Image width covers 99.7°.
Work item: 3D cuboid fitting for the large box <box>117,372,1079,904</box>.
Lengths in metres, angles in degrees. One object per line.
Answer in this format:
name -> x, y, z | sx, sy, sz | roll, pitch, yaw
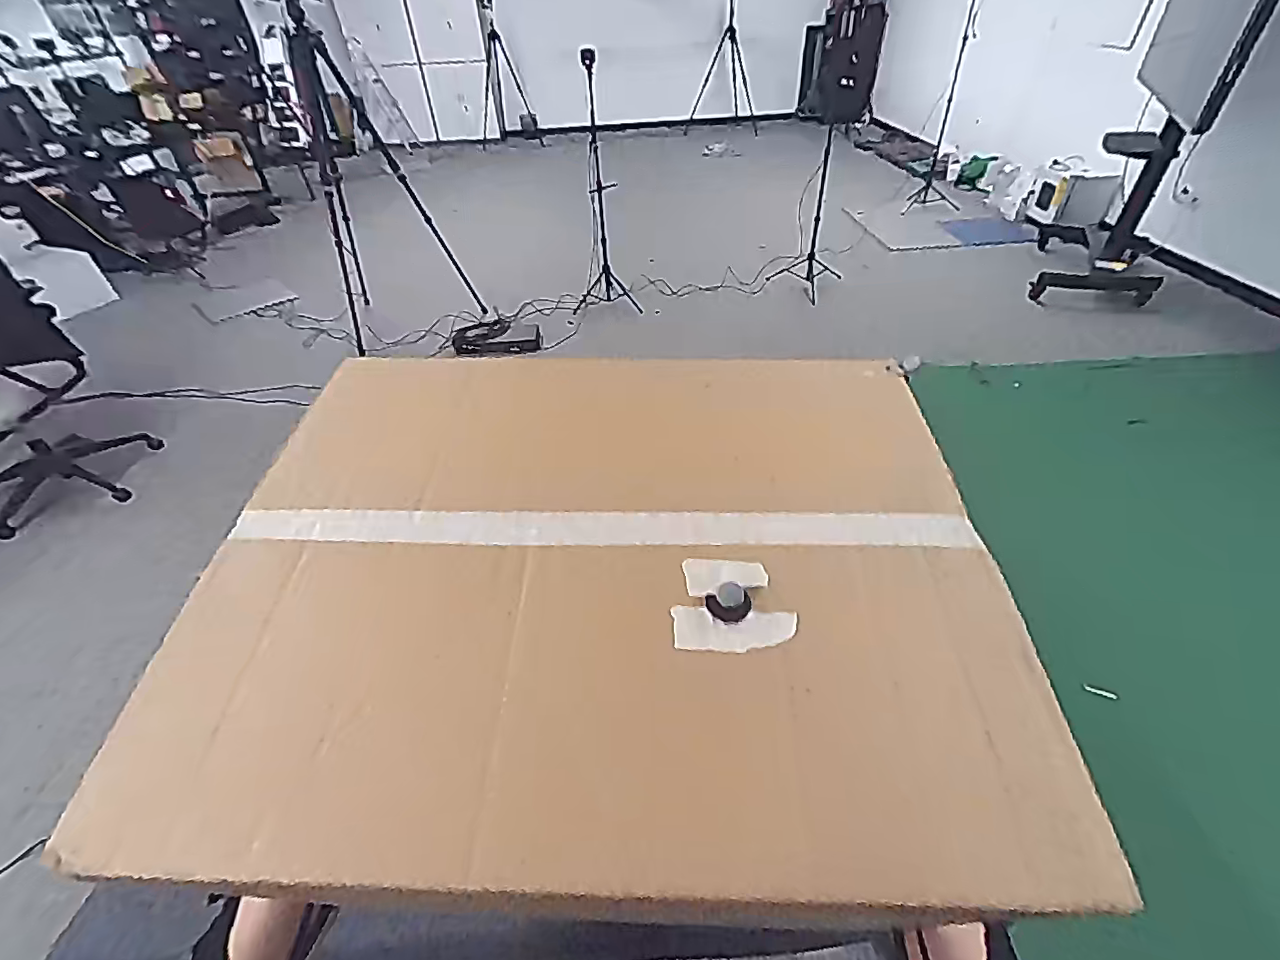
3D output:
large box -> -0.017, 0.131, 0.428 | 0.408, 0.320, 0.320 | 0, 51, 1
